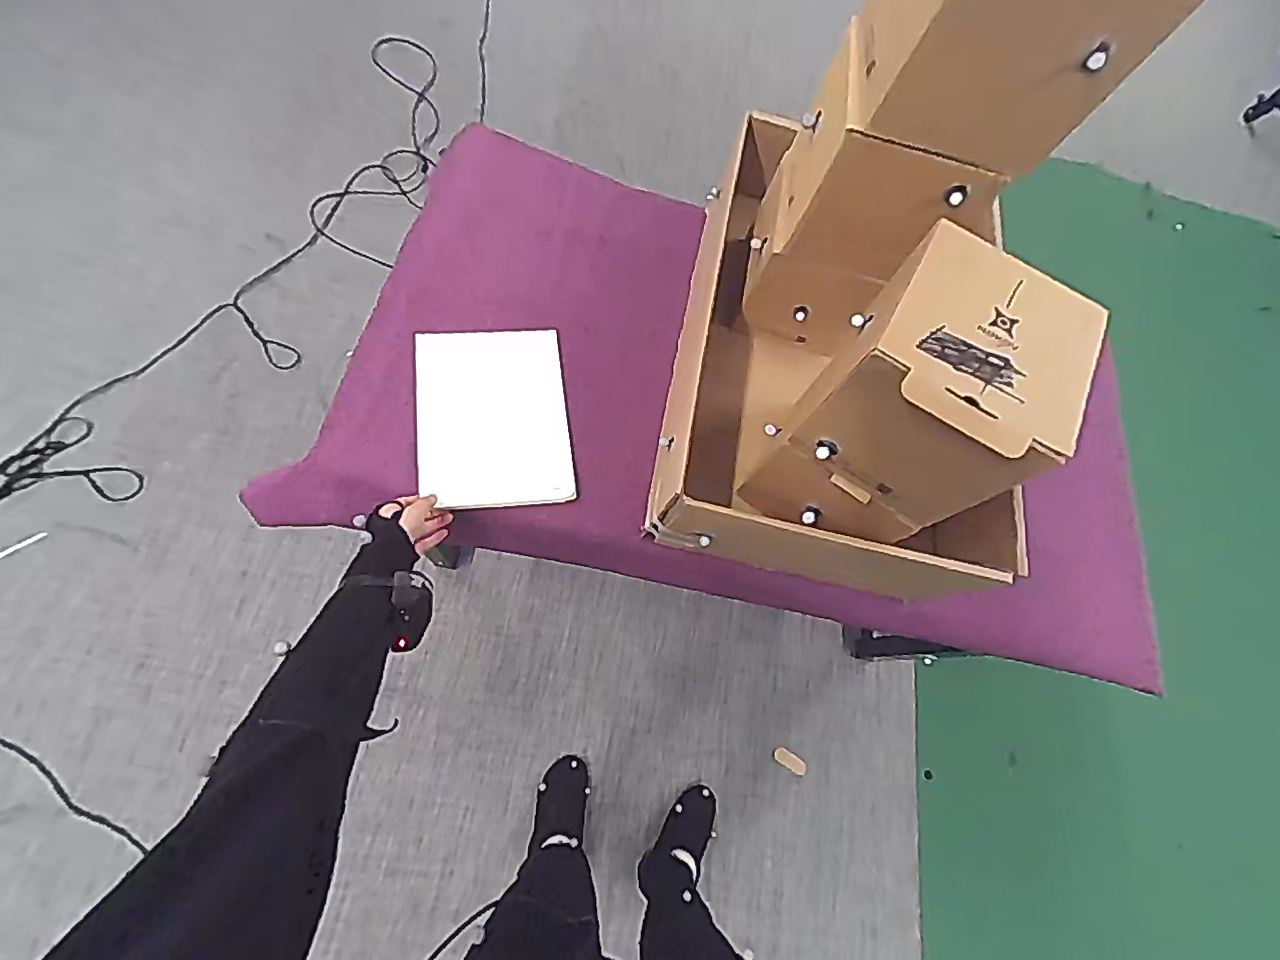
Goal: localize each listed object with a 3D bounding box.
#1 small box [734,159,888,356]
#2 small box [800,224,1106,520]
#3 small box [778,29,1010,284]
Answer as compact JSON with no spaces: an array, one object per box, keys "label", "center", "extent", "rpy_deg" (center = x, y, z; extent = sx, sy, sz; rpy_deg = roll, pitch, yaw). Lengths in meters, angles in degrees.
[{"label":"small box","center":[0.241,-0.302,0.765],"extent":[0.168,0.176,0.179],"rpy_deg":[14,70,-5]},{"label":"small box","center":[0.275,-0.088,0.509],"extent":[0.168,0.176,0.179],"rpy_deg":[32,66,5]},{"label":"small box","center":[0.271,-0.351,0.614],"extent":[0.179,0.176,0.168],"rpy_deg":[11,70,-6]}]
